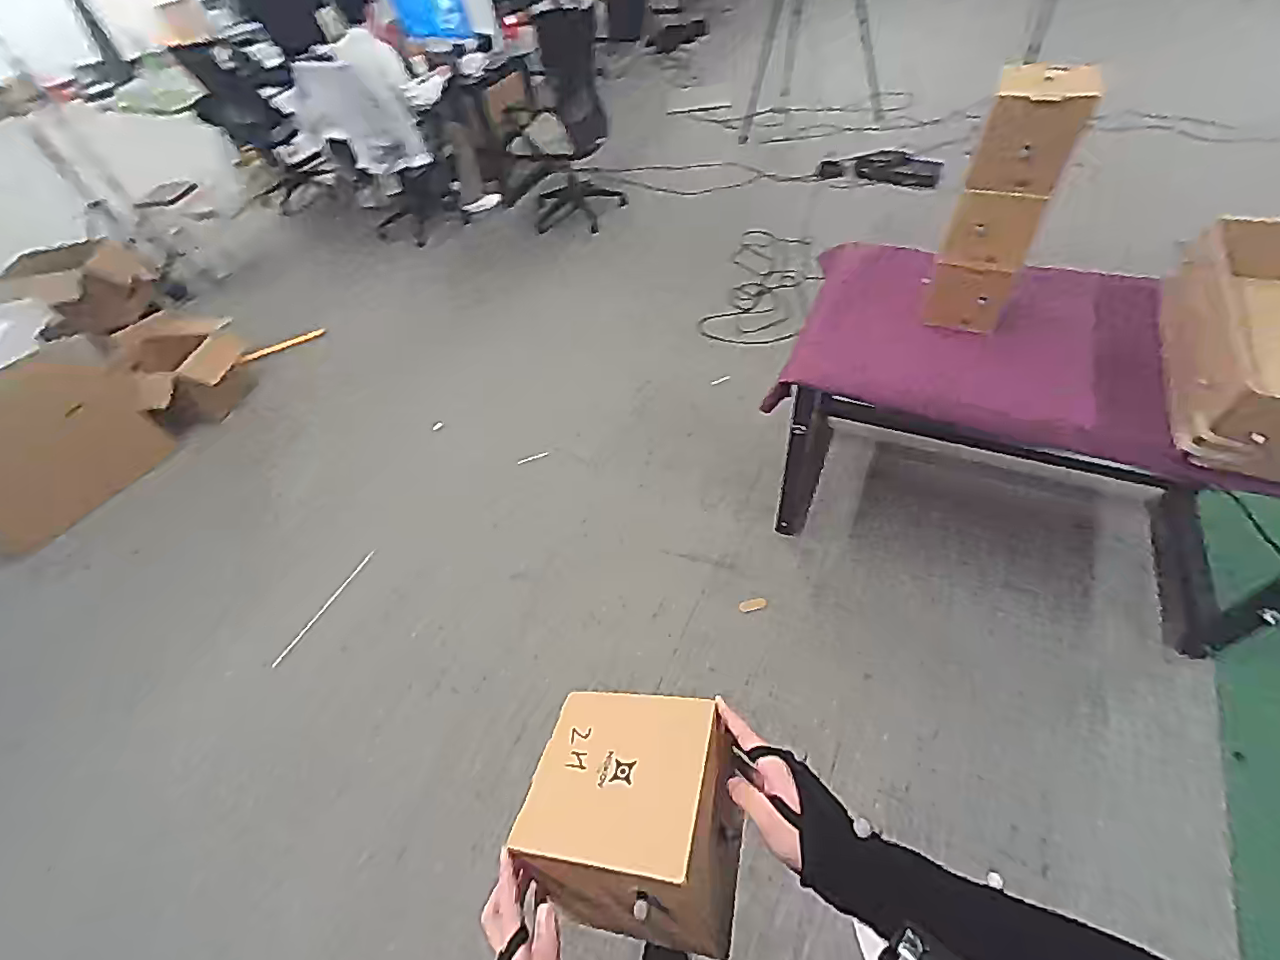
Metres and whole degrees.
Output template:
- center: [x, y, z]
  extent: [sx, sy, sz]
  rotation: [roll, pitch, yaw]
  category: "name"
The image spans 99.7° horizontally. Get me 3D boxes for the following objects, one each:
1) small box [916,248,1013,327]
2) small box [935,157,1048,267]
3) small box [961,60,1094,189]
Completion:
- center: [0.794, -0.499, 1.322]
  extent: [0.168, 0.176, 0.179]
  rotation: [18, 56, 20]
  category: "small box"
- center: [0.773, -0.596, 1.194]
  extent: [0.168, 0.176, 0.179]
  rotation: [17, 56, 20]
  category: "small box"
- center: [0.758, -0.700, 1.069]
  extent: [0.168, 0.176, 0.179]
  rotation: [17, 57, 19]
  category: "small box"
